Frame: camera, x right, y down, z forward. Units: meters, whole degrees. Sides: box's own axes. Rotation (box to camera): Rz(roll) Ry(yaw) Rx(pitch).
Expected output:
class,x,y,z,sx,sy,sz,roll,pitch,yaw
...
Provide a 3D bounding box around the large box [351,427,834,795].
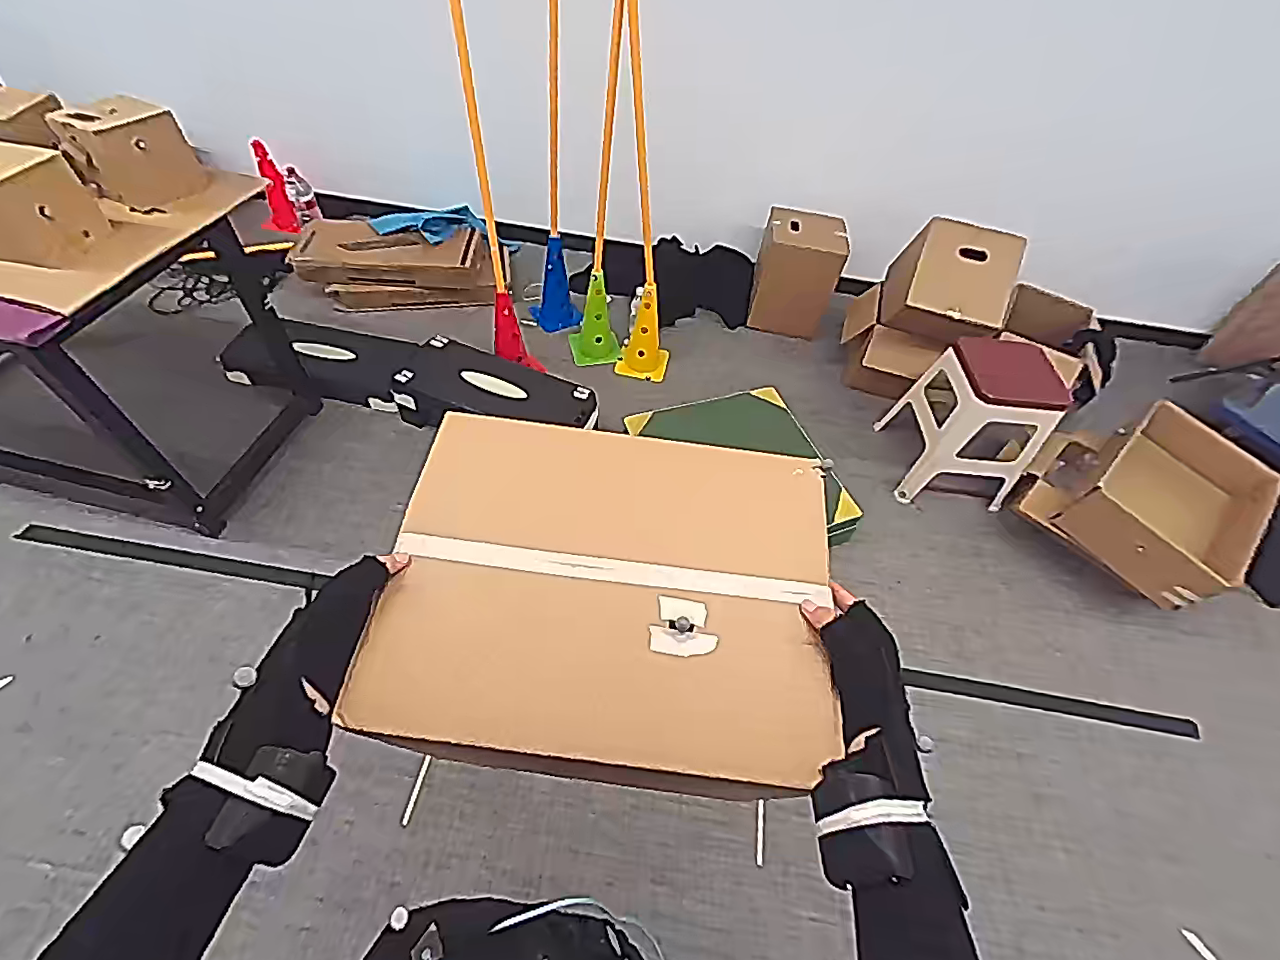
class,x,y,z,sx,sy,sz,roll,pitch,yaw
large box,-0.035,0.171,0.639,0.408,0.320,0.320,8,59,0
